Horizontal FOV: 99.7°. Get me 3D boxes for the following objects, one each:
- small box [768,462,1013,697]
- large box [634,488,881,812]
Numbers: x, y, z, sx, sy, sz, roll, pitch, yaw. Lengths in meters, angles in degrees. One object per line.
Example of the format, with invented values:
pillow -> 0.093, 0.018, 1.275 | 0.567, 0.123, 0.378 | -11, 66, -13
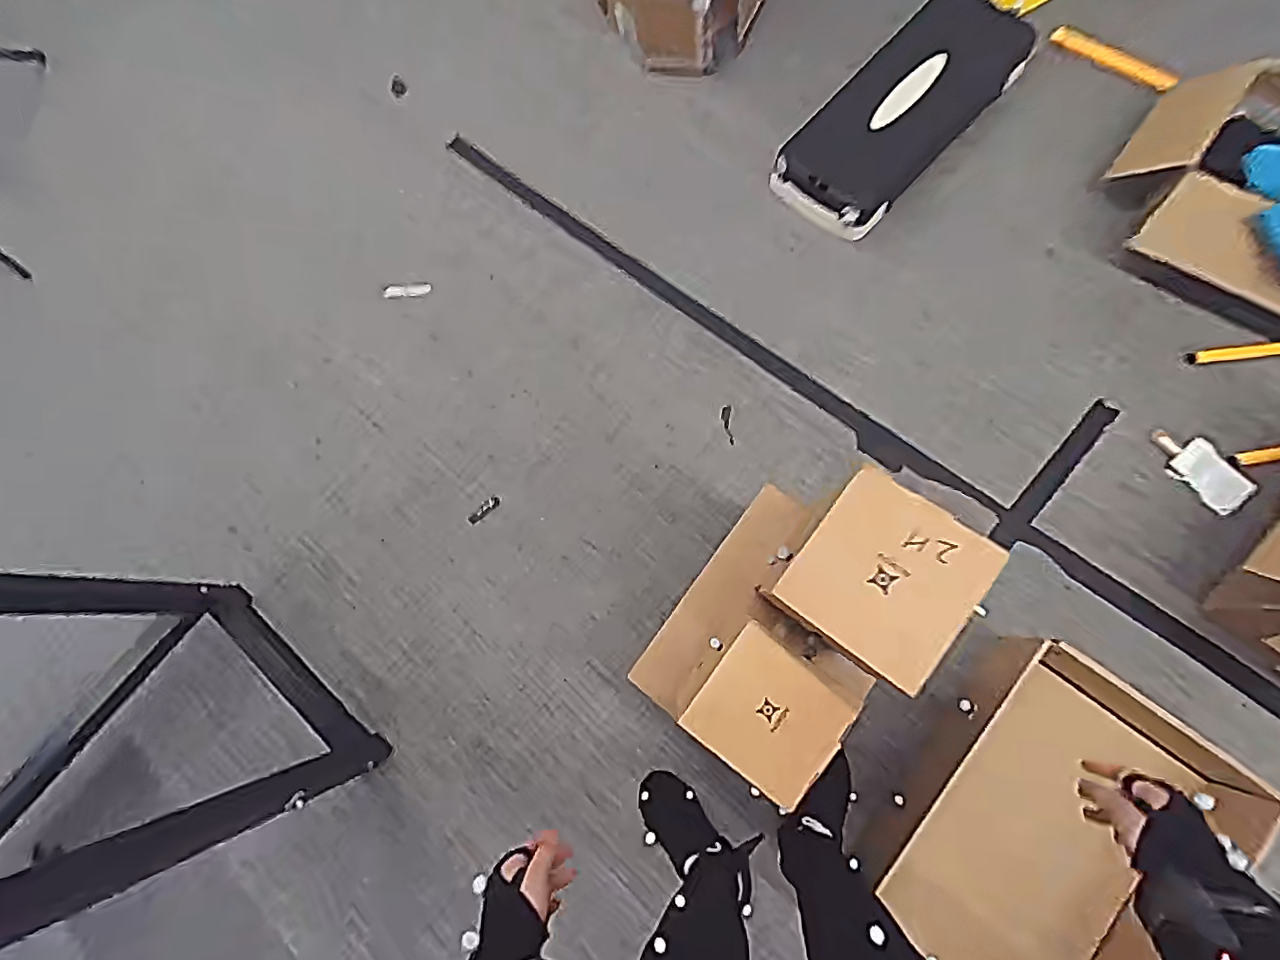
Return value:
small box -> 0.261, 0.111, 0.614 | 0.168, 0.176, 0.179 | 37, 85, 13
large box -> 0.243, 0.283, 1.000 | 0.320, 0.320, 0.408 | 35, 85, 14
